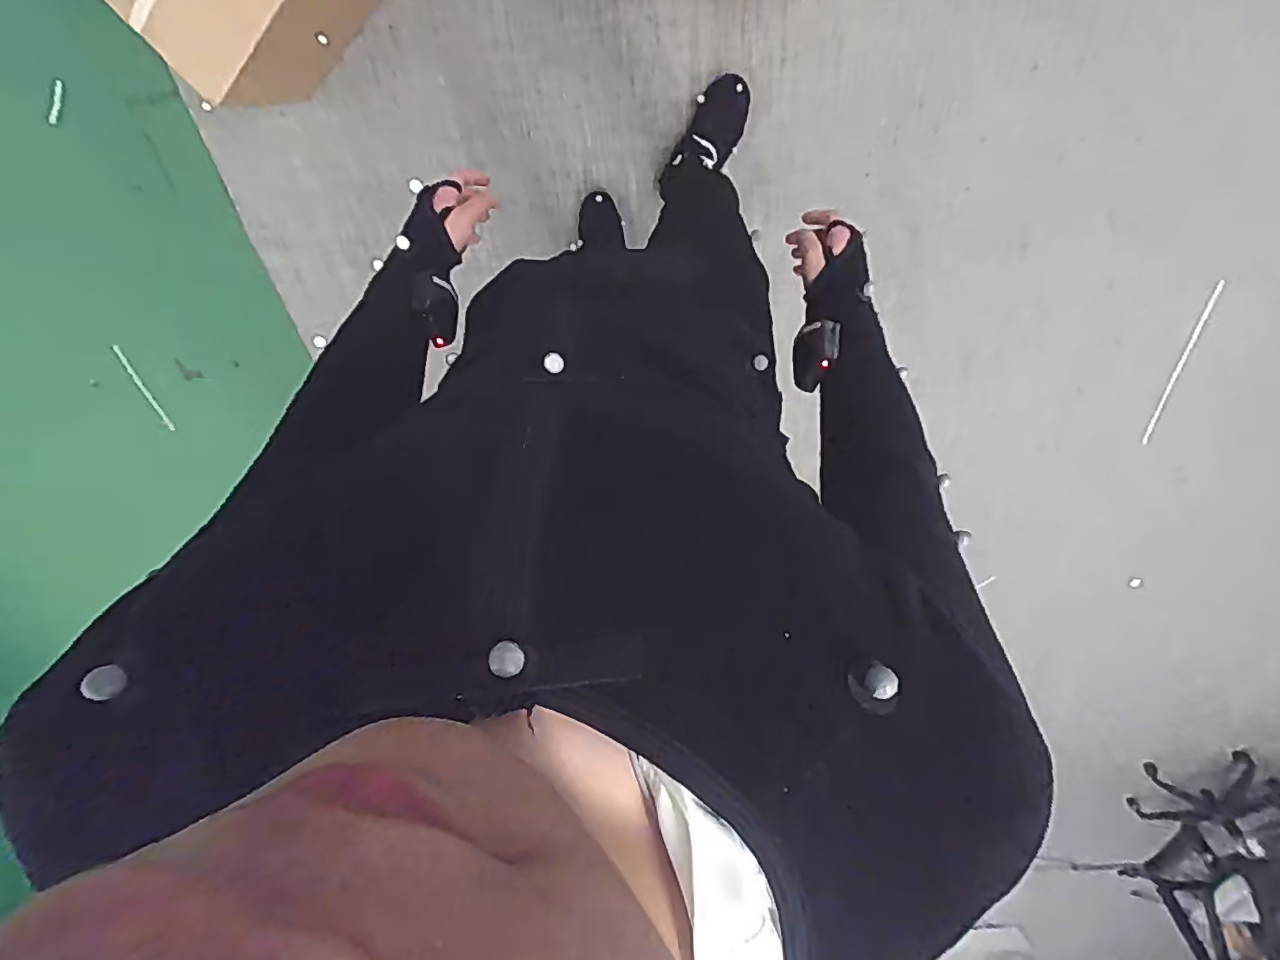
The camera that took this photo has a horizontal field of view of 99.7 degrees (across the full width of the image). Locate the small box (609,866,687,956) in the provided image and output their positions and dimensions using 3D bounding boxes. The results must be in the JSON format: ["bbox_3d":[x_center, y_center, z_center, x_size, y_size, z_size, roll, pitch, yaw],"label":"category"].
[{"bbox_3d":[0.027,1.300,1.634,0.168,0.176,0.179,32,123,-16],"label":"small box"}]

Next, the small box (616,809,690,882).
[{"bbox_3d":[0.046,1.199,1.761,0.179,0.176,0.168,31,124,-17],"label":"small box"}]

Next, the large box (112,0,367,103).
[{"bbox_3d":[-0.746,-1.007,1.011,0.408,0.320,0.320,-30,118,26],"label":"large box"}]
